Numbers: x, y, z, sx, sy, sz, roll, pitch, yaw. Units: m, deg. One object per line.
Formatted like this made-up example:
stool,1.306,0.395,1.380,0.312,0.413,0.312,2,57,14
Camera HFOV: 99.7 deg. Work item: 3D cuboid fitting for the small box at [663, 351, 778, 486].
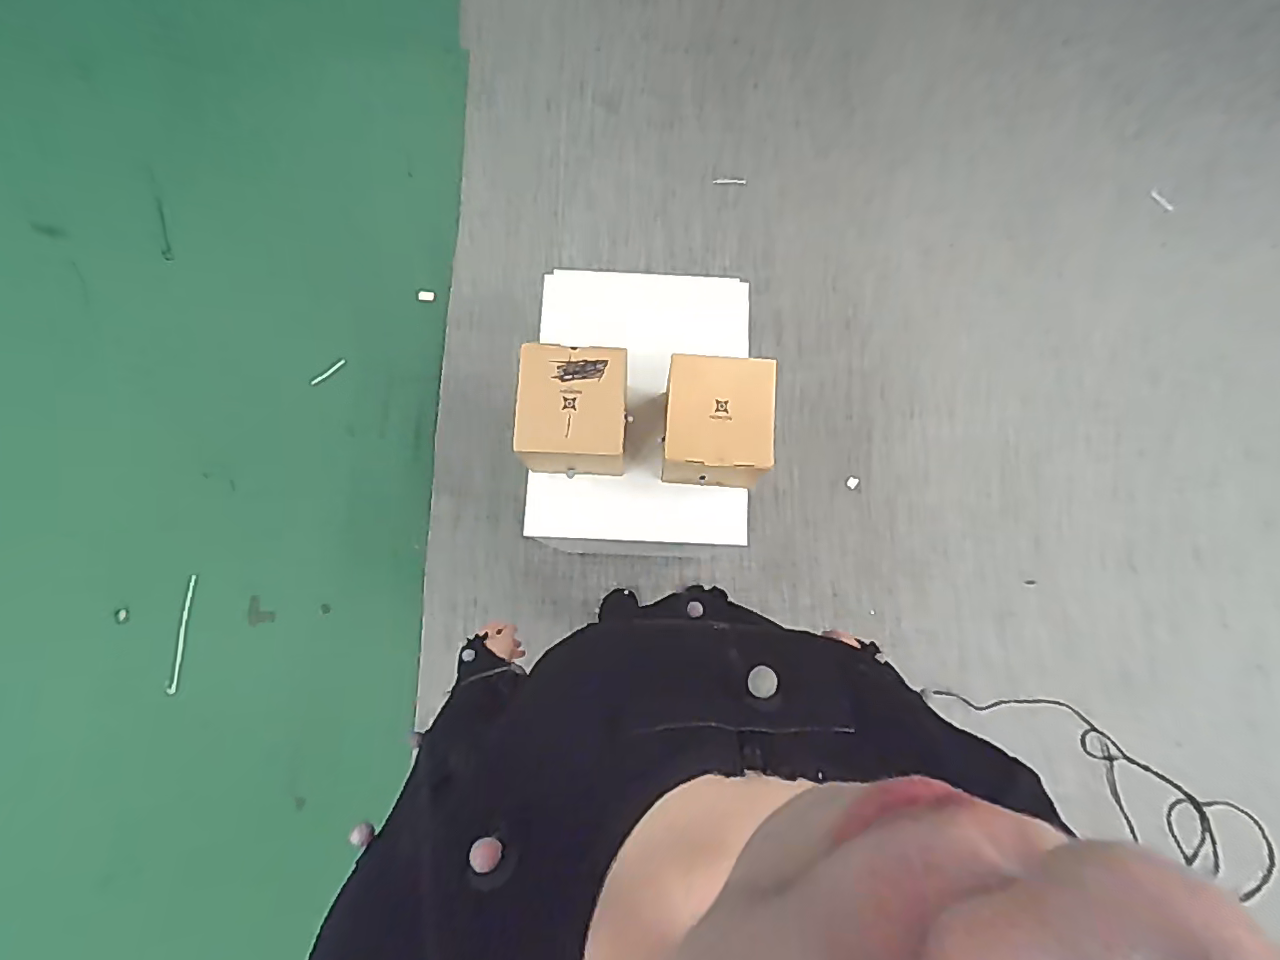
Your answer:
small box,0.127,-0.095,0.902,0.168,0.176,0.179,4,80,2

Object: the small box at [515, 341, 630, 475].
small box,-0.104,-0.113,0.904,0.168,0.176,0.179,3,80,0
